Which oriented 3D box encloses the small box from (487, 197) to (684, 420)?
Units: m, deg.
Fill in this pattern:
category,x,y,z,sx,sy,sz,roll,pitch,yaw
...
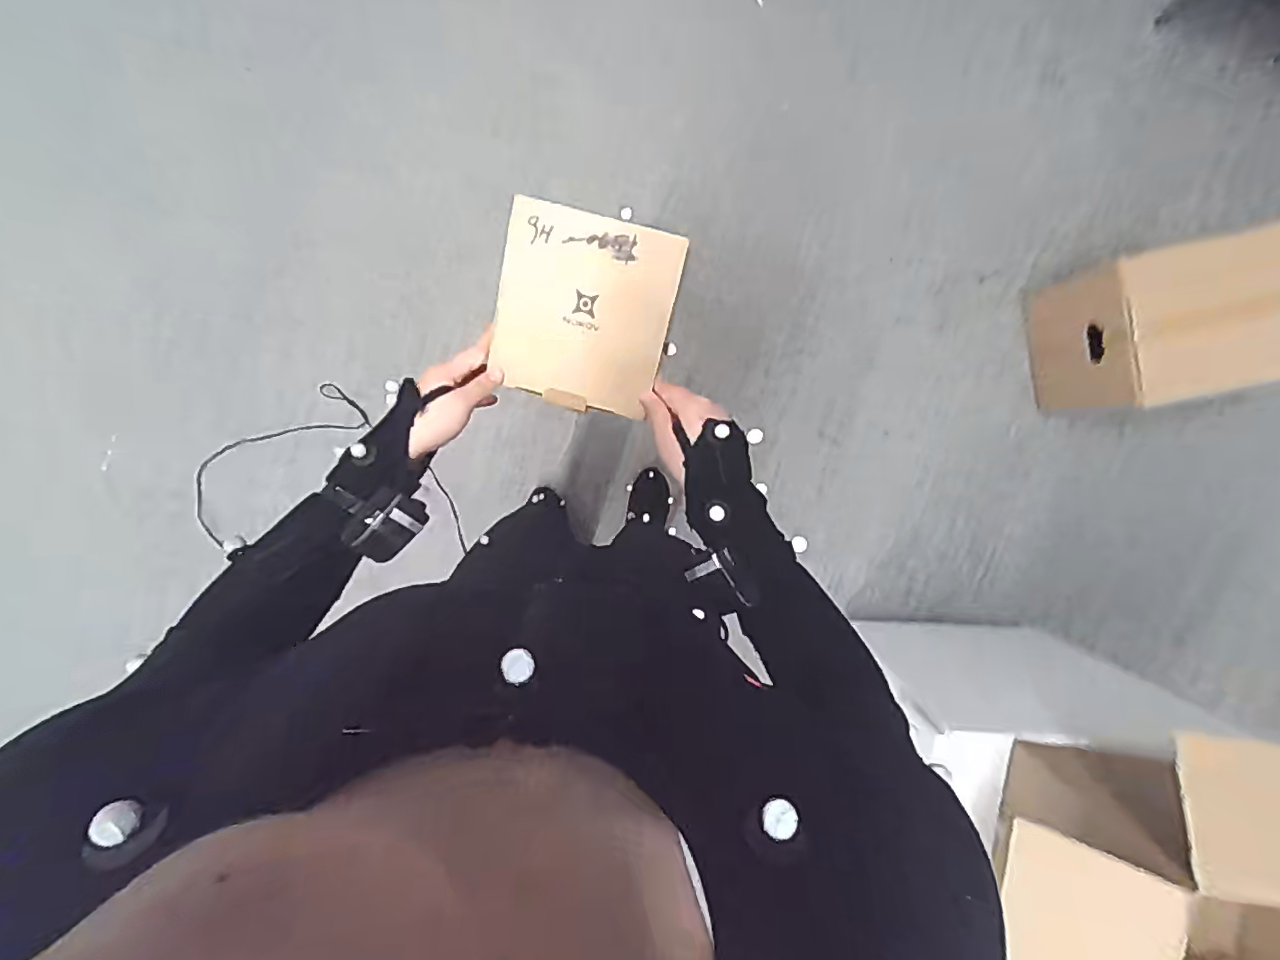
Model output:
category,x,y,z,sx,sy,sz,roll,pitch,yaw
small box,-0.050,-0.183,0.597,0.168,0.176,0.179,15,107,0
